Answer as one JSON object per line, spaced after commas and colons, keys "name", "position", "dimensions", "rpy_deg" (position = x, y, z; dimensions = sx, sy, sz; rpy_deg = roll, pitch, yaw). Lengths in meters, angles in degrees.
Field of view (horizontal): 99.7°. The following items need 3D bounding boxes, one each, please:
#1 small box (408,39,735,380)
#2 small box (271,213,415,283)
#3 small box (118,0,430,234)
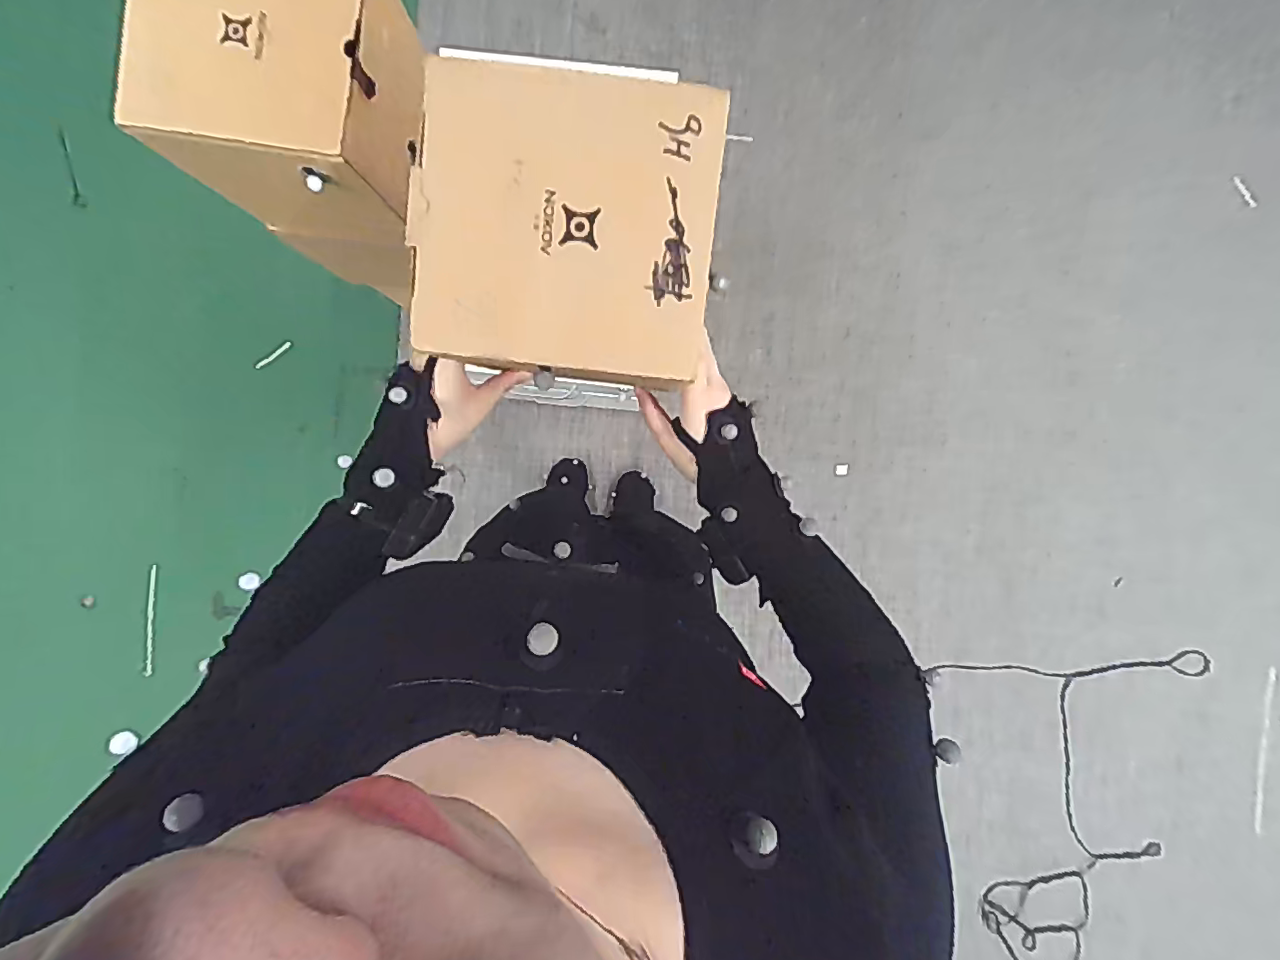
{"name": "small box", "position": [-0.042, -0.166, 0.392], "dimensions": [0.179, 0.176, 0.168], "rpy_deg": [7, 98, -1]}
{"name": "small box", "position": [-0.296, -0.343, 0.647], "dimensions": [0.179, 0.176, 0.168], "rpy_deg": [5, 91, -1]}
{"name": "small box", "position": [-0.295, -0.342, 0.484], "dimensions": [0.179, 0.176, 0.168], "rpy_deg": [7, 92, -2]}
